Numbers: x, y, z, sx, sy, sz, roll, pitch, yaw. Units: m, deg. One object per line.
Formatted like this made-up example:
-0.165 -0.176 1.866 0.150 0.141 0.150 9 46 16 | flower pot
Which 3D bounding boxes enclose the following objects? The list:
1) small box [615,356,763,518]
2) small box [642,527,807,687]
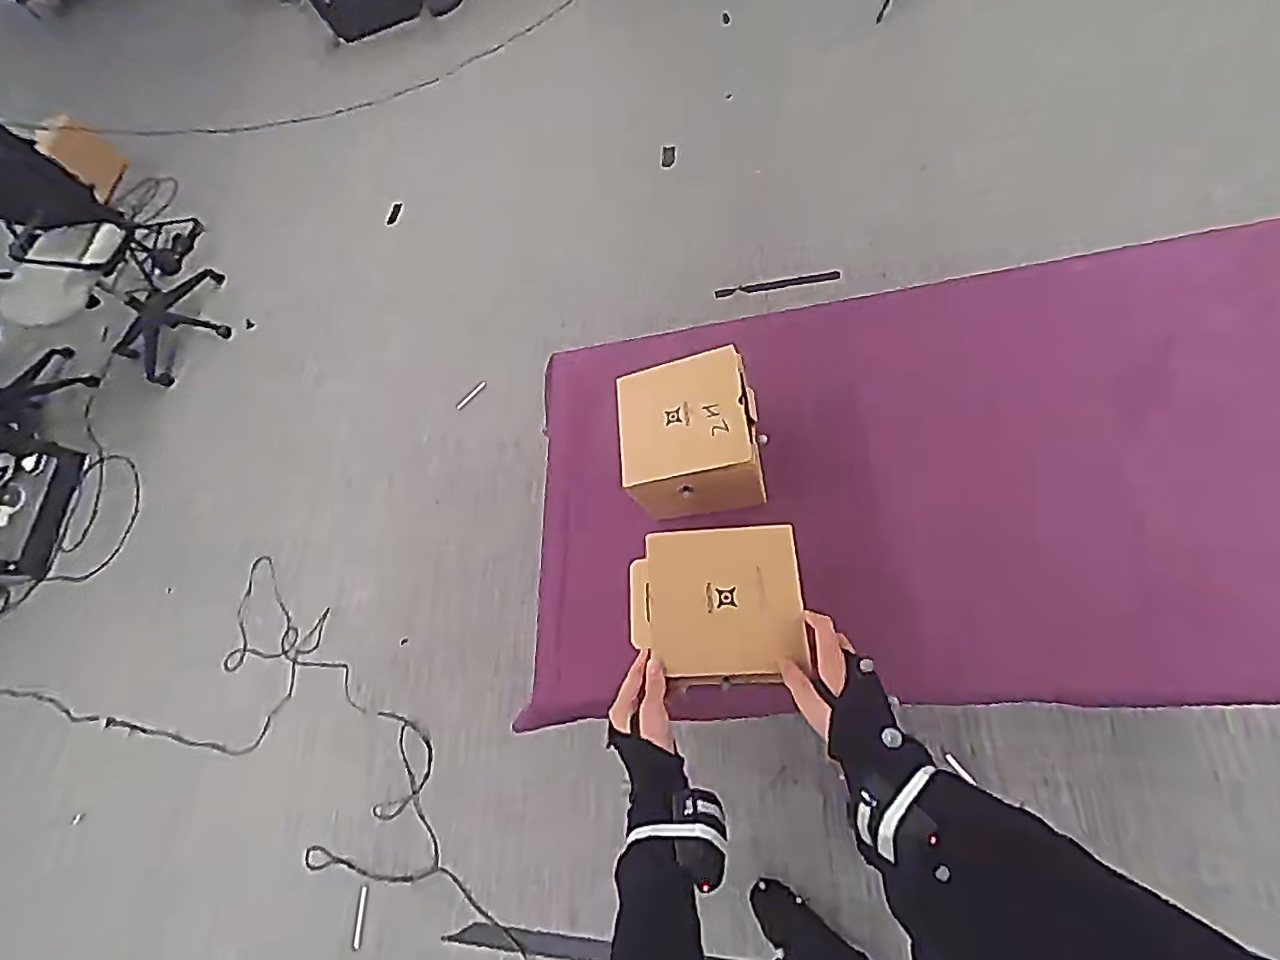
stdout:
0.074 -0.050 0.781 0.179 0.176 0.168 -9 69 13 | small box
0.103 0.168 0.680 0.179 0.176 0.168 -5 66 8 | small box
